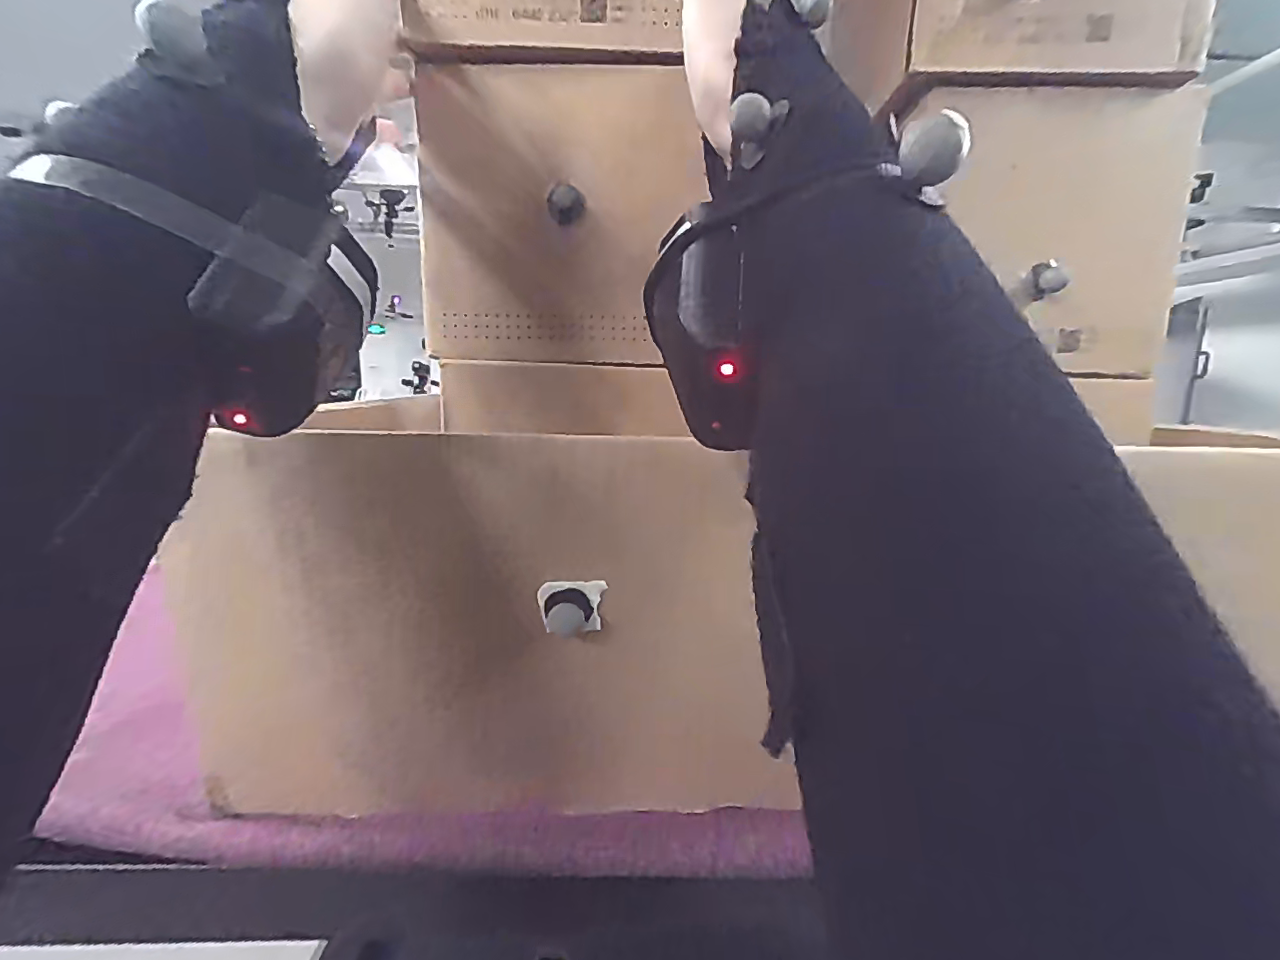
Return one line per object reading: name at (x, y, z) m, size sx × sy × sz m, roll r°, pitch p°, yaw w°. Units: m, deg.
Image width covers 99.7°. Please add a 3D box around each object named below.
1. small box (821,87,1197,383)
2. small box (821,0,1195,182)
small box at (0.247, -0.164, 0.415) m, size 0.168 × 0.176 × 0.179 m, roll 0°, pitch 11°, yaw 1°
small box at (0.235, -0.323, 0.380) m, size 0.168 × 0.176 × 0.179 m, roll 1°, pitch 11°, yaw 2°
